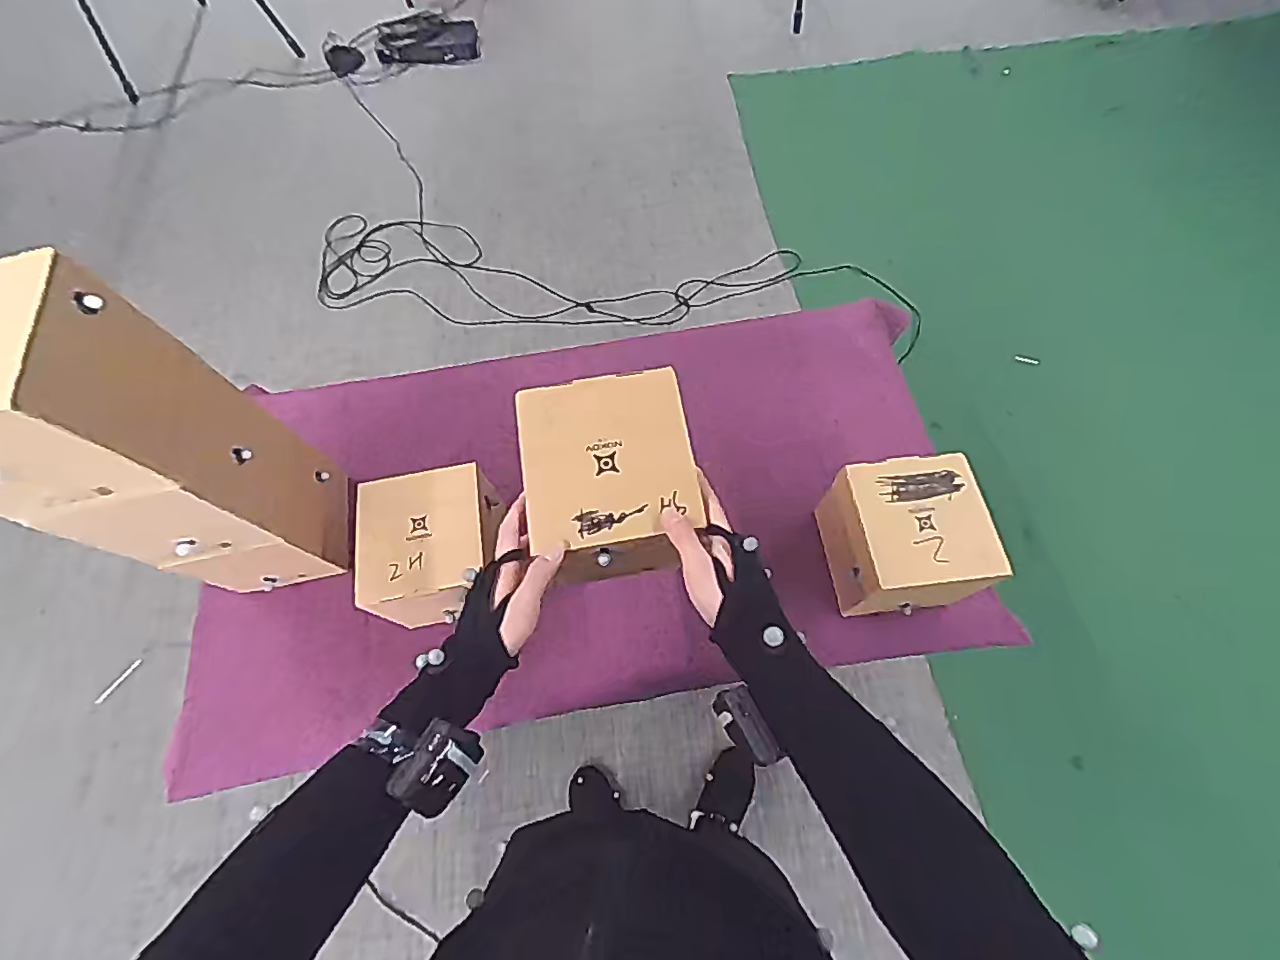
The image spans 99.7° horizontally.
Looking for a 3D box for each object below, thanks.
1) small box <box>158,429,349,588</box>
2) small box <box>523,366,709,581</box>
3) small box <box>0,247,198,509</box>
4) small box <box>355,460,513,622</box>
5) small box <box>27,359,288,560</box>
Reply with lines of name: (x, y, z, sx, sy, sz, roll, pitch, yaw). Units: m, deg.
small box: (-0.566, 0.049, 0.819, 0.168, 0.176, 0.179, -12, 67, -3)
small box: (-0.025, 0.002, 0.597, 0.168, 0.176, 0.179, -9, 70, 0)
small box: (-0.576, -0.084, 0.522, 0.168, 0.176, 0.179, -13, 66, -3)
small box: (-0.291, 0.094, 0.789, 0.168, 0.176, 0.179, -11, 66, -2)
small box: (-0.570, -0.019, 0.670, 0.168, 0.176, 0.179, -12, 67, -3)
